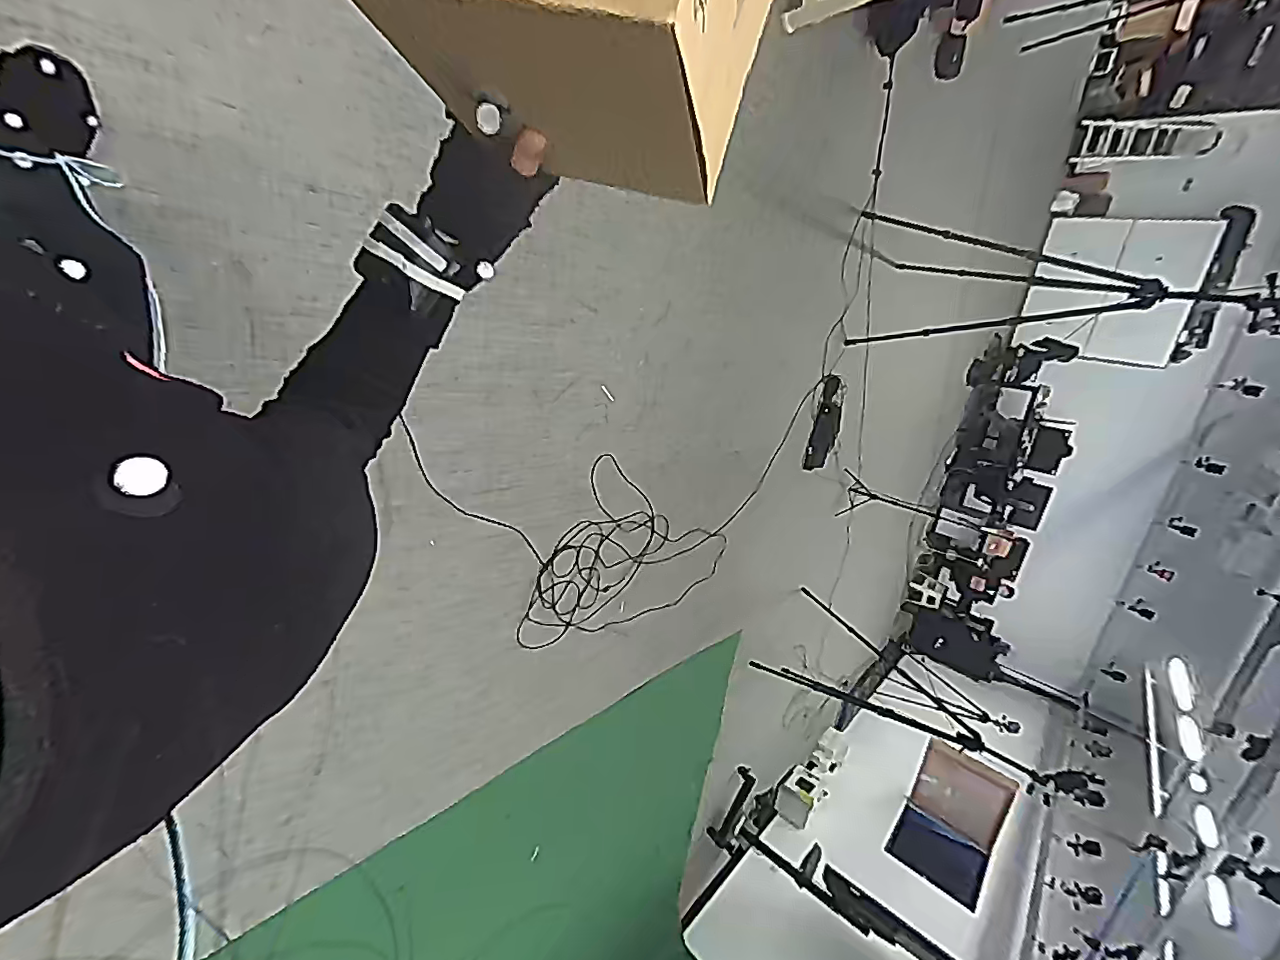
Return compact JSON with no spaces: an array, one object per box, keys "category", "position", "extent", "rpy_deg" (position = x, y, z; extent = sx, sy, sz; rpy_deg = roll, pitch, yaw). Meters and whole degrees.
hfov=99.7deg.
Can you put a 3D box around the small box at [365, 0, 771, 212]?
[{"category":"small box","position":[-0.022,-0.284,0.303],"extent":[0.179,0.176,0.168],"rpy_deg":[-21,127,-79]}]
